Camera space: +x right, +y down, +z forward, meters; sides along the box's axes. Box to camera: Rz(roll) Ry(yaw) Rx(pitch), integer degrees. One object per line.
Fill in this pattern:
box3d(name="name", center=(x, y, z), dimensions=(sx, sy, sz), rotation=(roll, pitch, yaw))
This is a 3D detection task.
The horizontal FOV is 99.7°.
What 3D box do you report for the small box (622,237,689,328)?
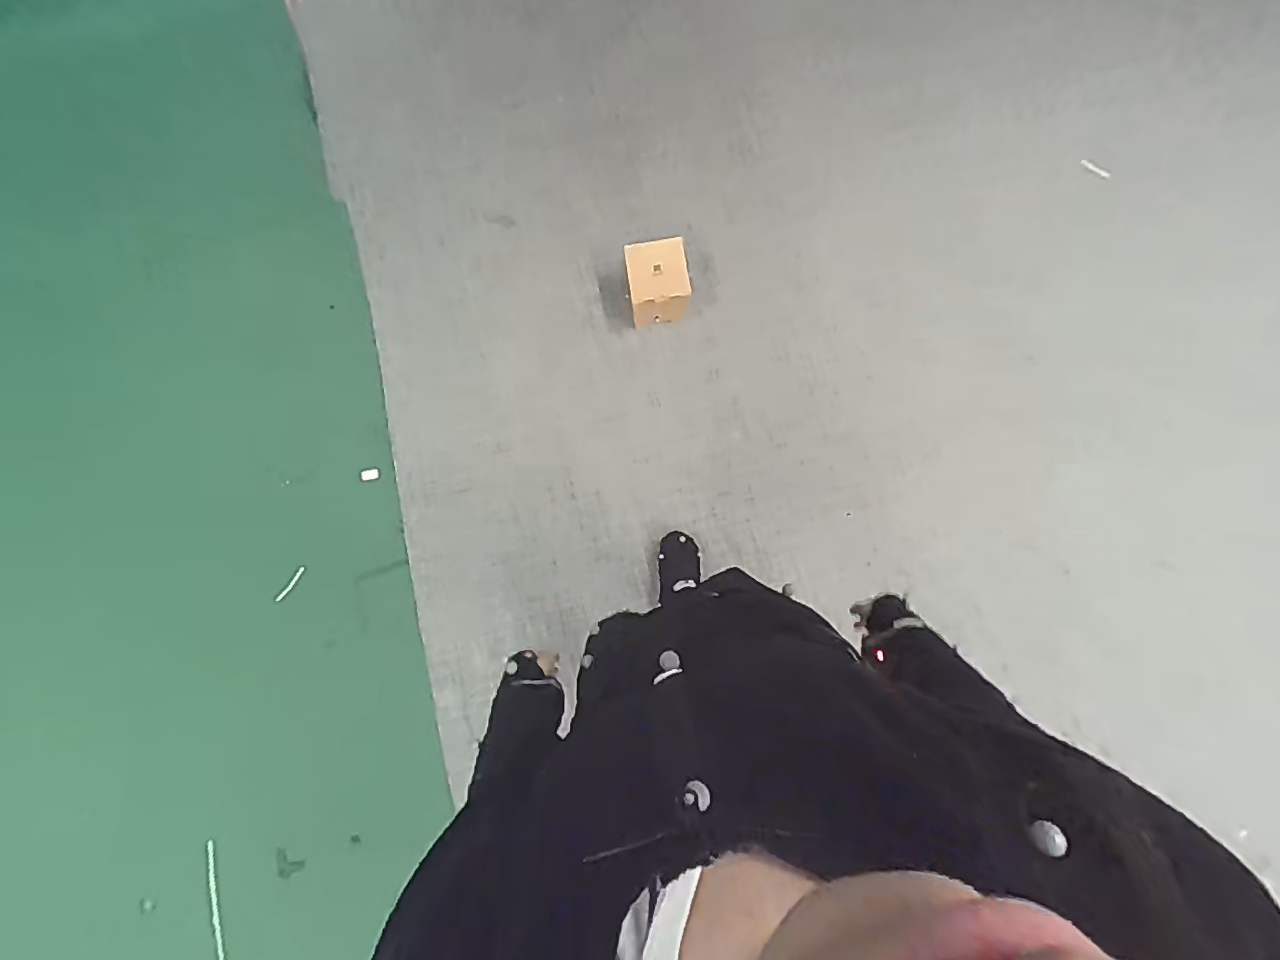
box3d(name="small box", center=(0.042, -0.565, 1.562), dimensions=(0.168, 0.176, 0.179), rotation=(-9, 81, 0))
